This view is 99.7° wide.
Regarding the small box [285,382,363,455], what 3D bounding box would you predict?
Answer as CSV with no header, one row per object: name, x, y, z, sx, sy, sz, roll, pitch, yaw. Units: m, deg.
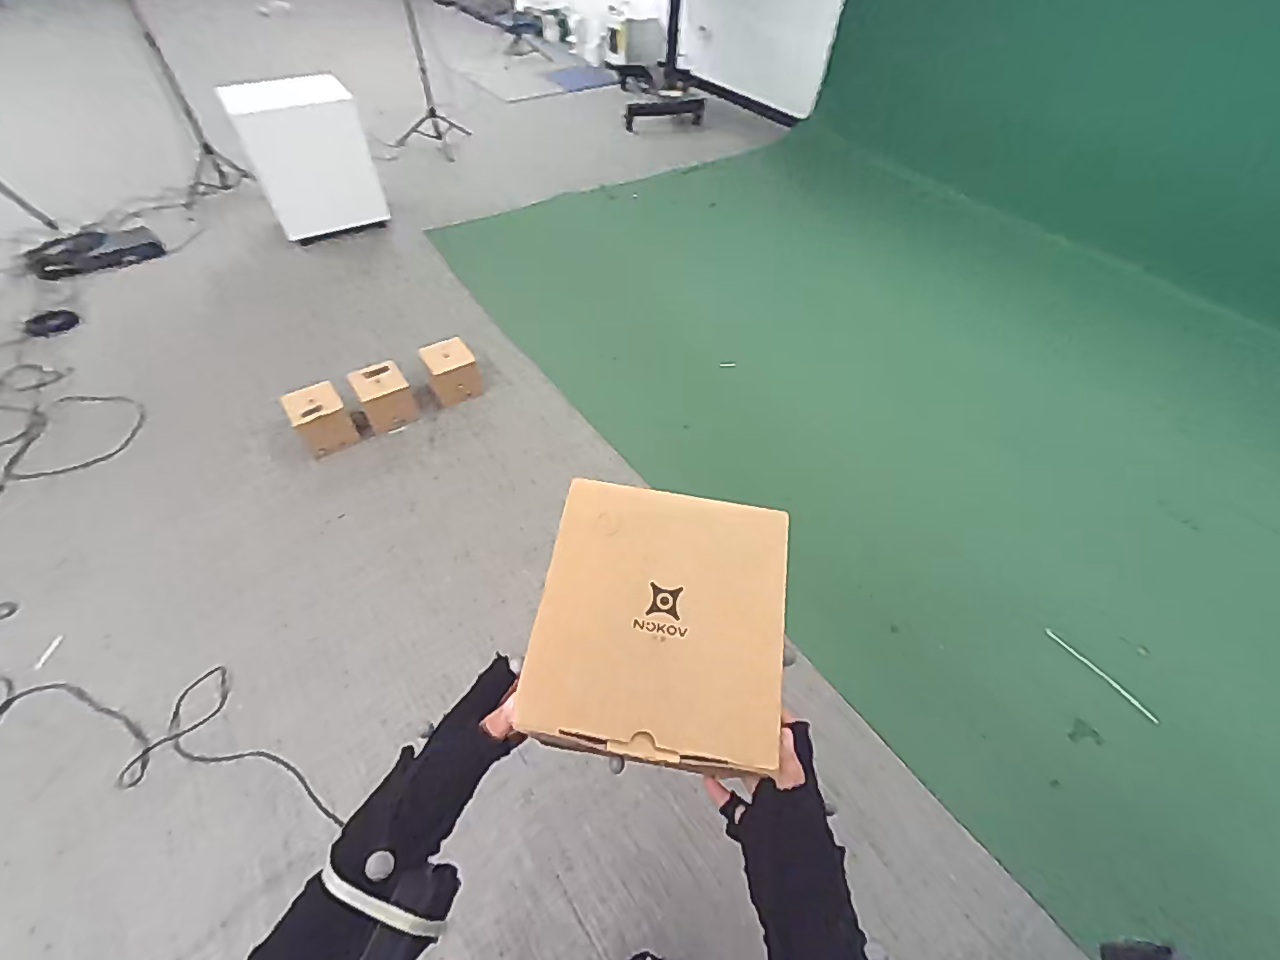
small box,-1.115,-0.211,1.917,0.168,0.176,0.179,-29,57,-23

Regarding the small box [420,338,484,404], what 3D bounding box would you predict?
small box,-0.726,-0.418,2.109,0.168,0.176,0.179,-28,57,-24
